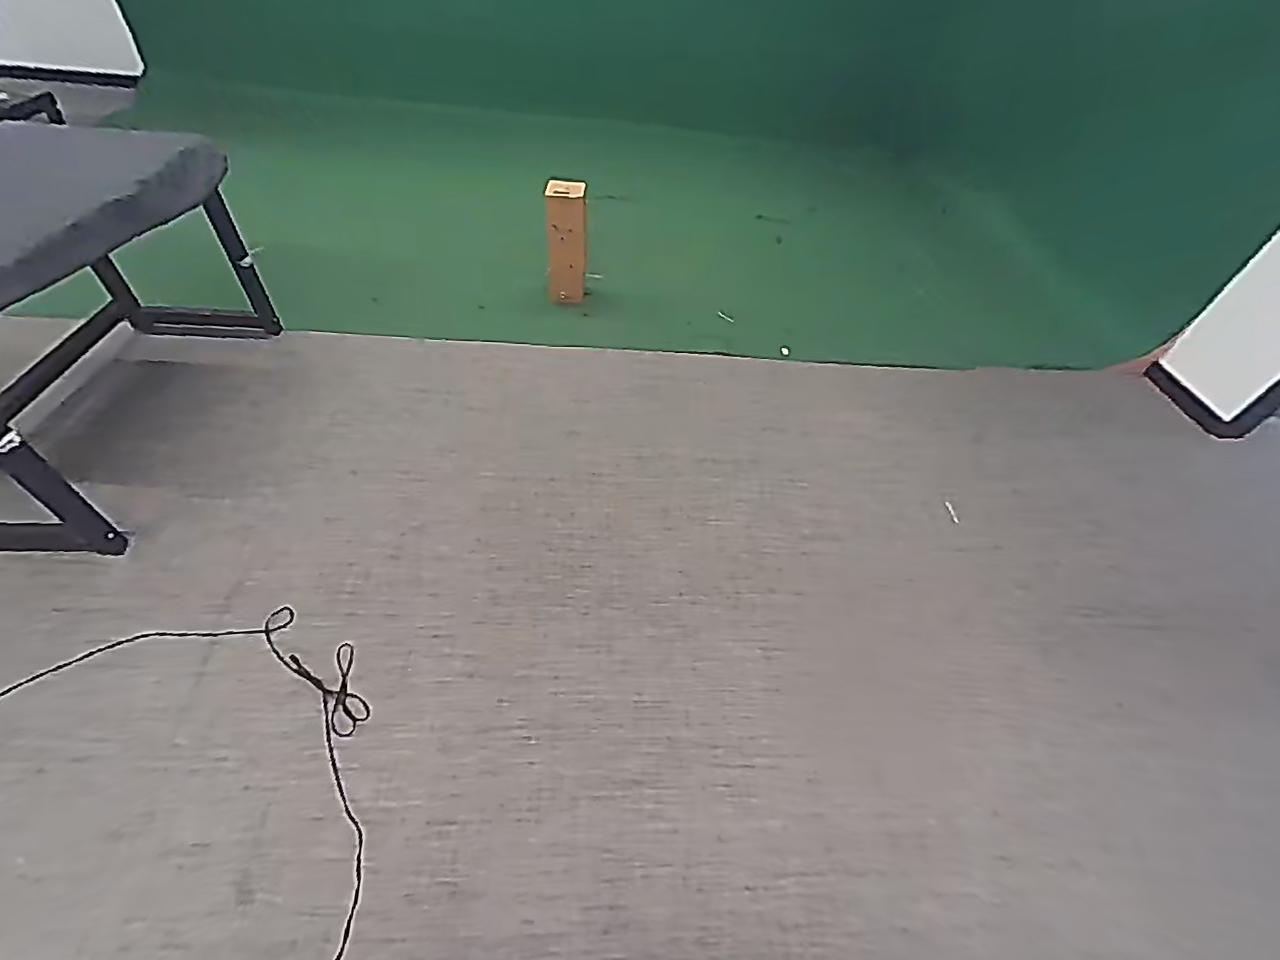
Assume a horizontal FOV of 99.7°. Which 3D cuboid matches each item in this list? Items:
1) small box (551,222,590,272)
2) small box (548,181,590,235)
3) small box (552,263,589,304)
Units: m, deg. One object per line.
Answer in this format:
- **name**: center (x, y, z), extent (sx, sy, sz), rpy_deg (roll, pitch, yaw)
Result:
- **small box**: center (-0.326, -1.114, 2.565), extent (0.168, 0.176, 0.179), rpy_deg (4, 47, -2)
- **small box**: center (-0.318, -1.228, 2.447), extent (0.168, 0.176, 0.179), rpy_deg (4, 47, -2)
- **small box**: center (-0.342, -1.001, 2.683), extent (0.168, 0.176, 0.179), rpy_deg (3, 49, -2)
